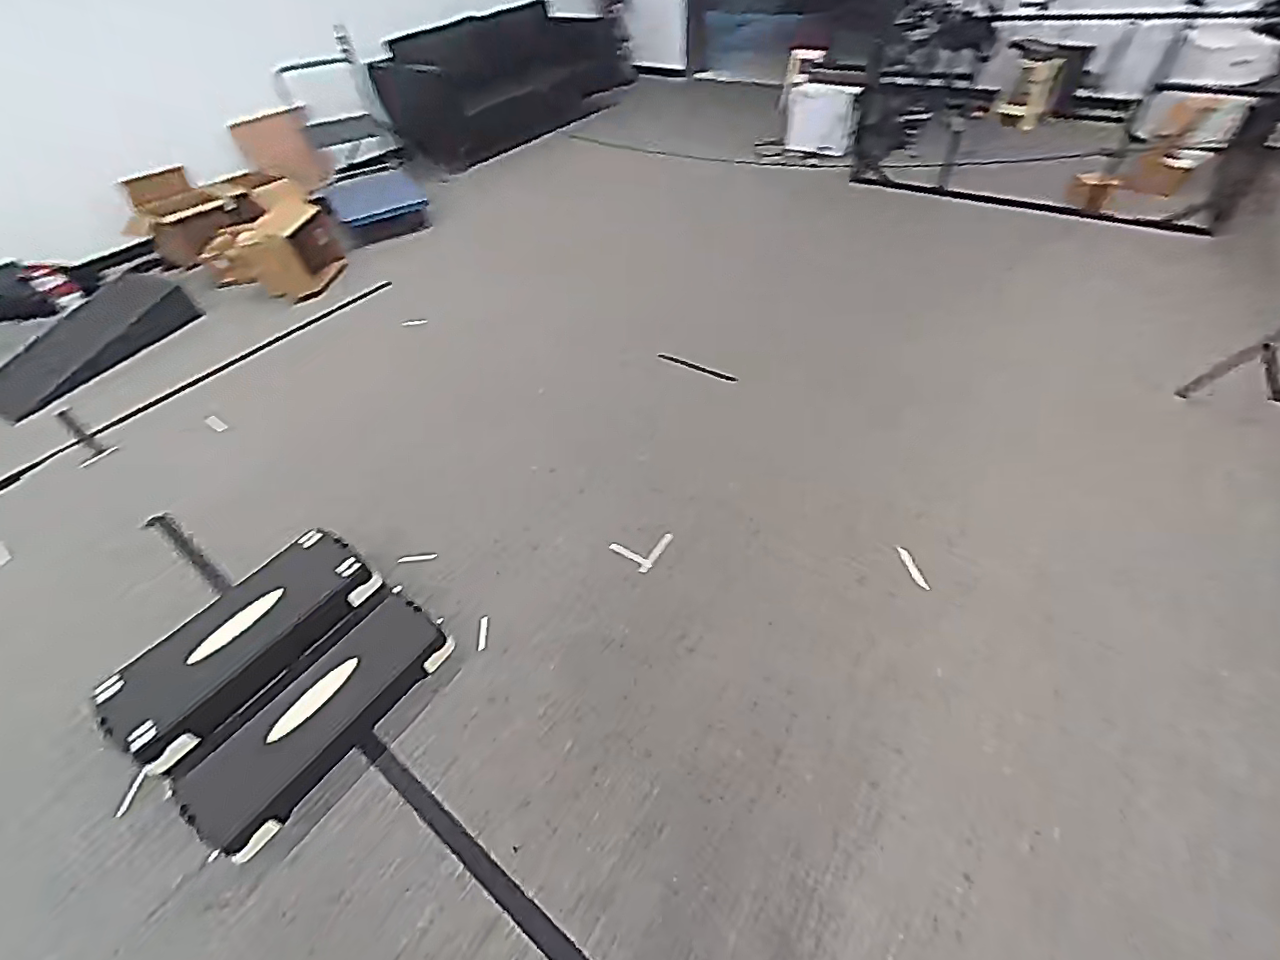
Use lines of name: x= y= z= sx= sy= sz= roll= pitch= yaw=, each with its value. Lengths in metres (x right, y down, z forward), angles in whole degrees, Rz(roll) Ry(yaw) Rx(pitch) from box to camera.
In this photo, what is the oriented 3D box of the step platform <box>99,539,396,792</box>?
step platform: x=-1.057 y=0.479 z=1.513 sx=0.286 sy=0.204 sz=0.684 roll=26 pitch=53 yaw=25
